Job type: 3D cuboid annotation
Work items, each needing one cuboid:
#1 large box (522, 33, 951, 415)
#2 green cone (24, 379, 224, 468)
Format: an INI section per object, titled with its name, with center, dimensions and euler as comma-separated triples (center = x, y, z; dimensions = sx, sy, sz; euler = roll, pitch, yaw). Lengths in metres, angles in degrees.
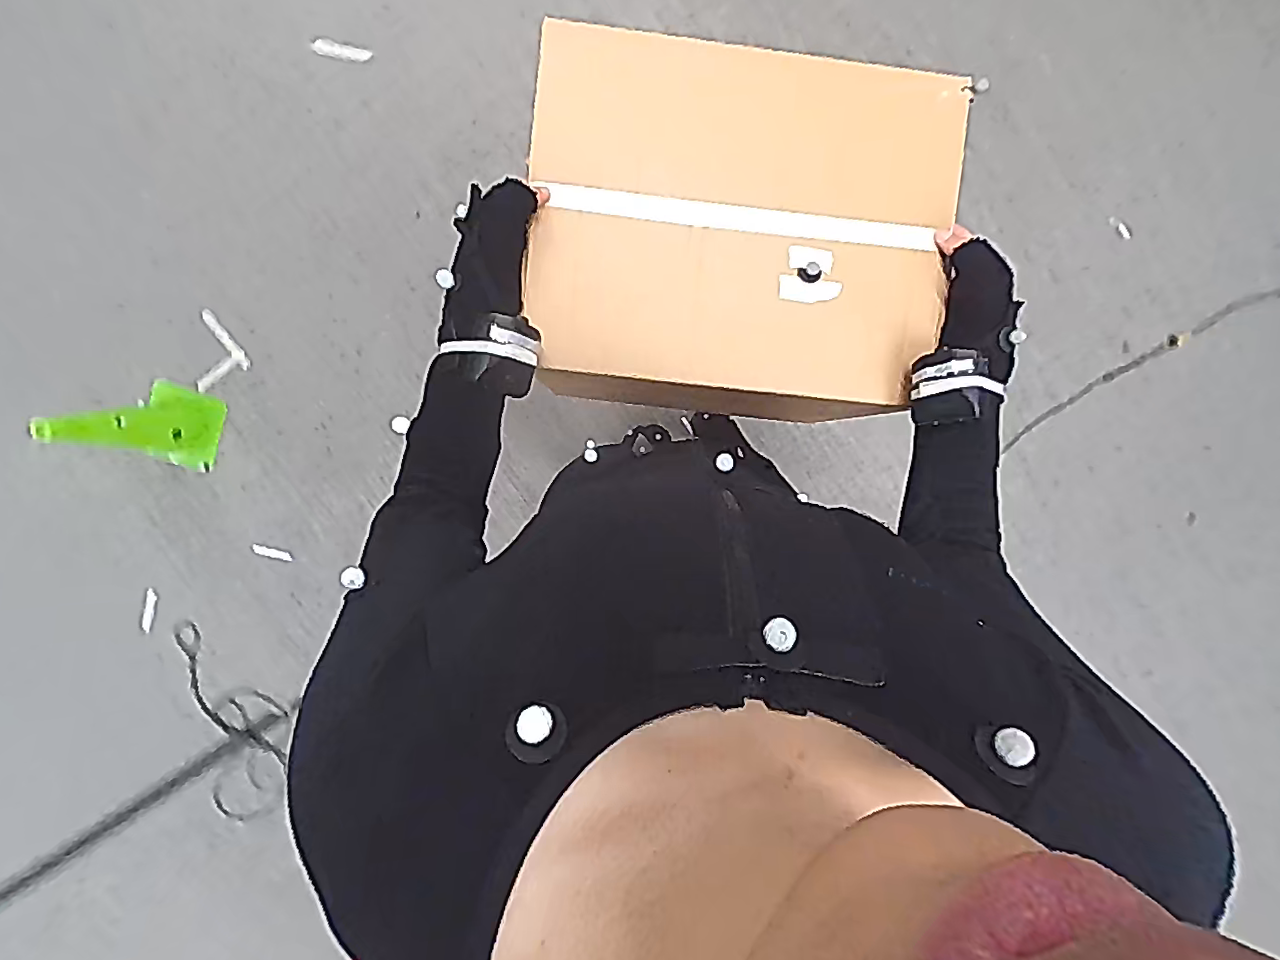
[large box]
center = 0.084, -0.256, 0.663
dimensions = 0.408, 0.320, 0.320
euler = 4, 93, -4
[green cone]
center = -1.227, -0.133, 1.278
dimensions = 0.202, 0.368, 0.200
euler = 18, 96, -1
